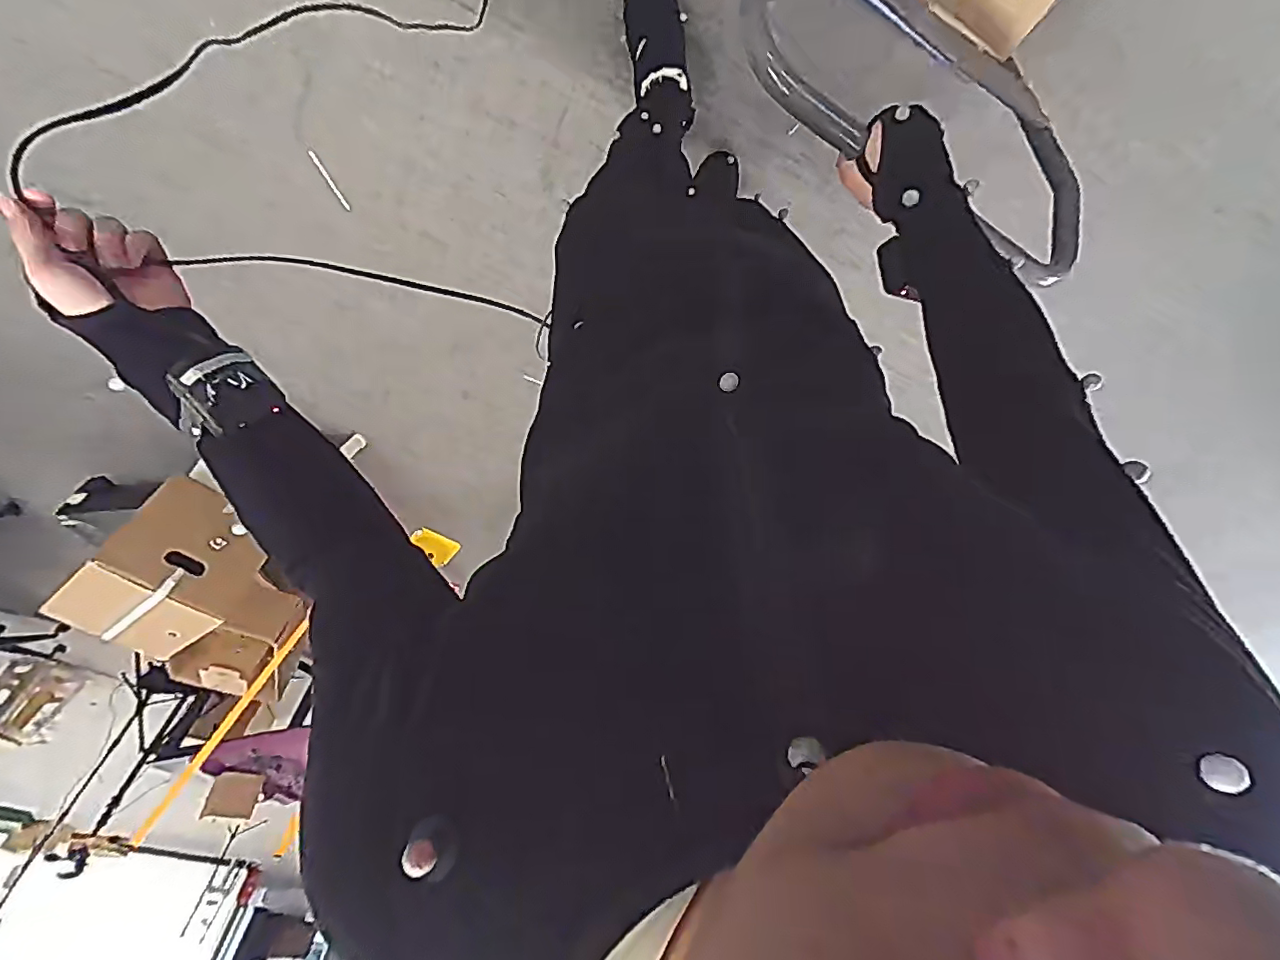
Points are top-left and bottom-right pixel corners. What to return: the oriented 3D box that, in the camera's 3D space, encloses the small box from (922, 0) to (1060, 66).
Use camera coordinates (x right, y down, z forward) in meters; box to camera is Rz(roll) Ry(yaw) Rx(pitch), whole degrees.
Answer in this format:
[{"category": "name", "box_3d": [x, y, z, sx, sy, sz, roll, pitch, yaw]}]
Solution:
[{"category": "small box", "box_3d": [0.558, -0.805, 0.844, 0.179, 0.176, 0.168, 21, 143, -14]}]
